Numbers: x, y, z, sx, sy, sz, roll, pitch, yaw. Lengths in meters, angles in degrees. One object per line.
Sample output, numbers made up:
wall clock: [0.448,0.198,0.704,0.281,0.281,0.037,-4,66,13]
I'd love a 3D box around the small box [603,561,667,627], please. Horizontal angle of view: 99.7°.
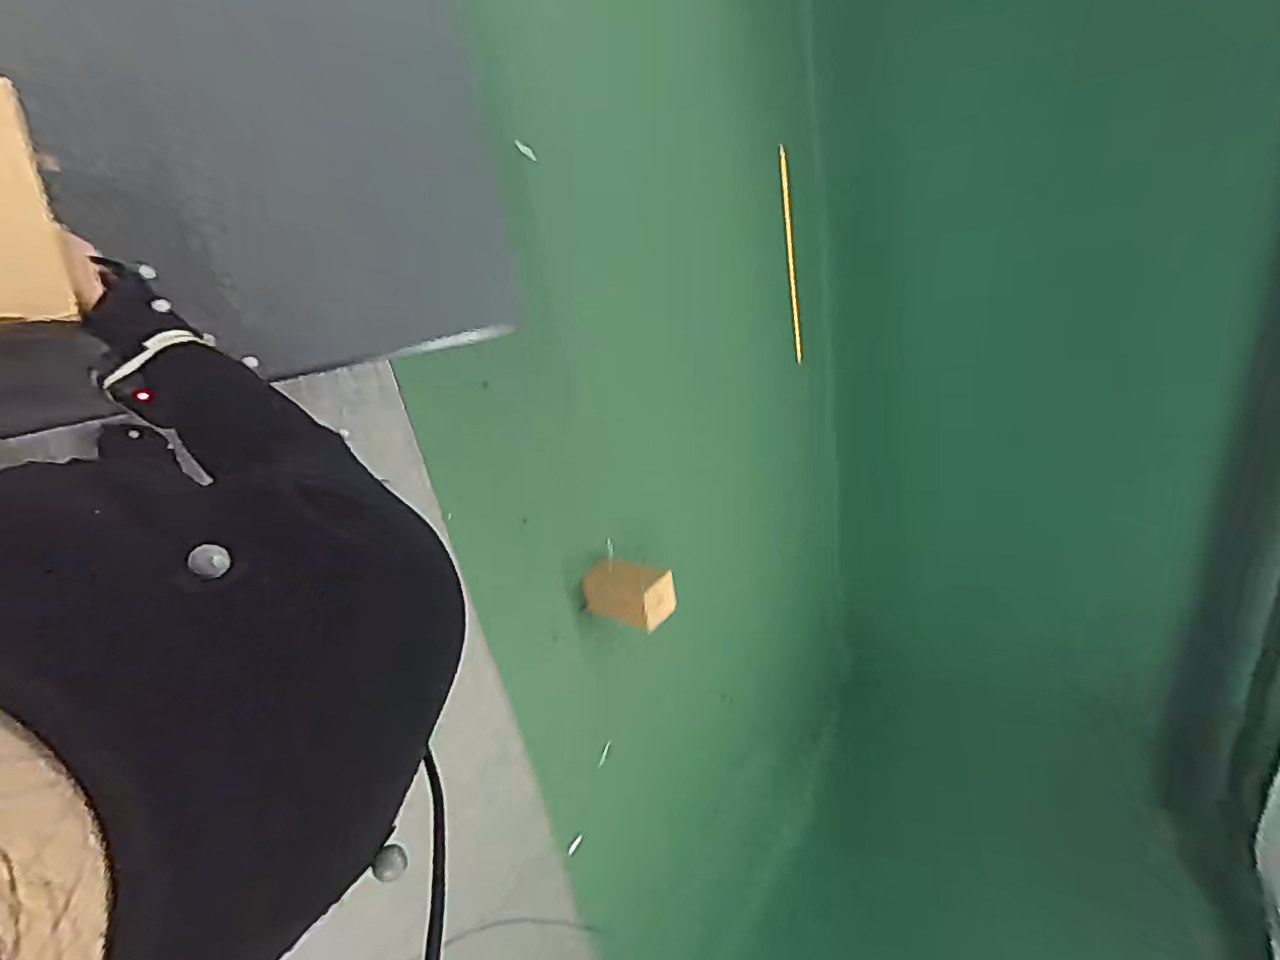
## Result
small box: [-0.017,0.435,2.100,0.179,0.176,0.168,-31,119,-45]

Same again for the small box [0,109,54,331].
small box: [-0.577,-0.208,0.395,0.168,0.176,0.179,-18,109,-47]
